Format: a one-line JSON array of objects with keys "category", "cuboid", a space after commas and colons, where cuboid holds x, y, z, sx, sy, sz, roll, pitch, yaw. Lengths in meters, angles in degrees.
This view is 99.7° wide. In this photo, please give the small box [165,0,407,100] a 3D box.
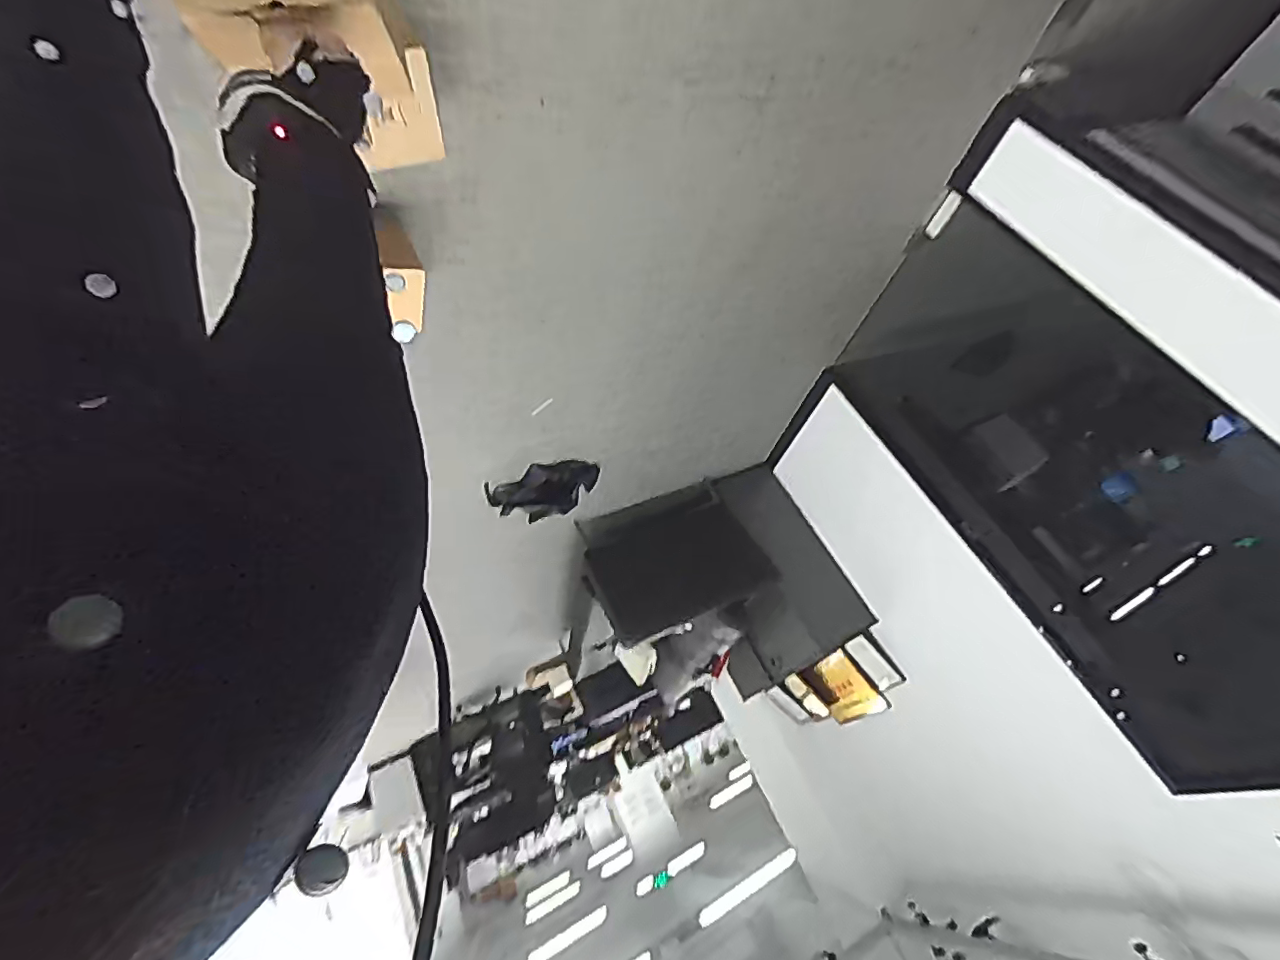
[{"category": "small box", "cuboid": [-0.339, -0.494, 0.516, 0.168, 0.179, 0.176, -12, -167, -10]}]

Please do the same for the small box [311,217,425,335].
[{"category": "small box", "cuboid": [-0.570, -0.428, 1.136, 0.179, 0.176, 0.168, -13, 151, -33]}]
